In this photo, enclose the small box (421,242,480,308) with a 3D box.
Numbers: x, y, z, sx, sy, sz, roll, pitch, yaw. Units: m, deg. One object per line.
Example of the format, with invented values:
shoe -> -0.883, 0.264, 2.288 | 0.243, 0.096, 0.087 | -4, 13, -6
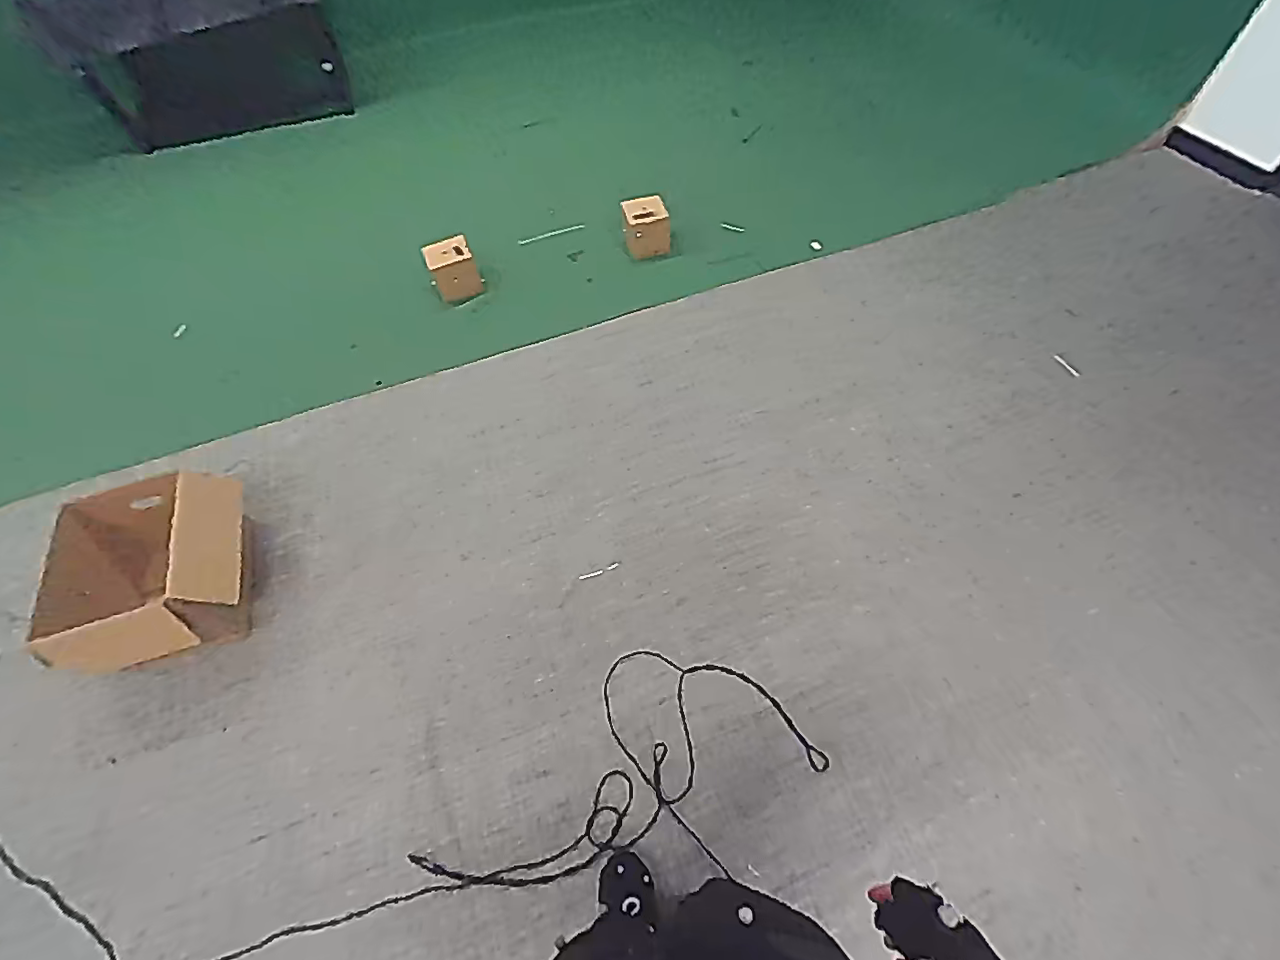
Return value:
small box -> -0.779, -0.845, 2.237 | 0.179, 0.176, 0.168 | -22, 58, -9
